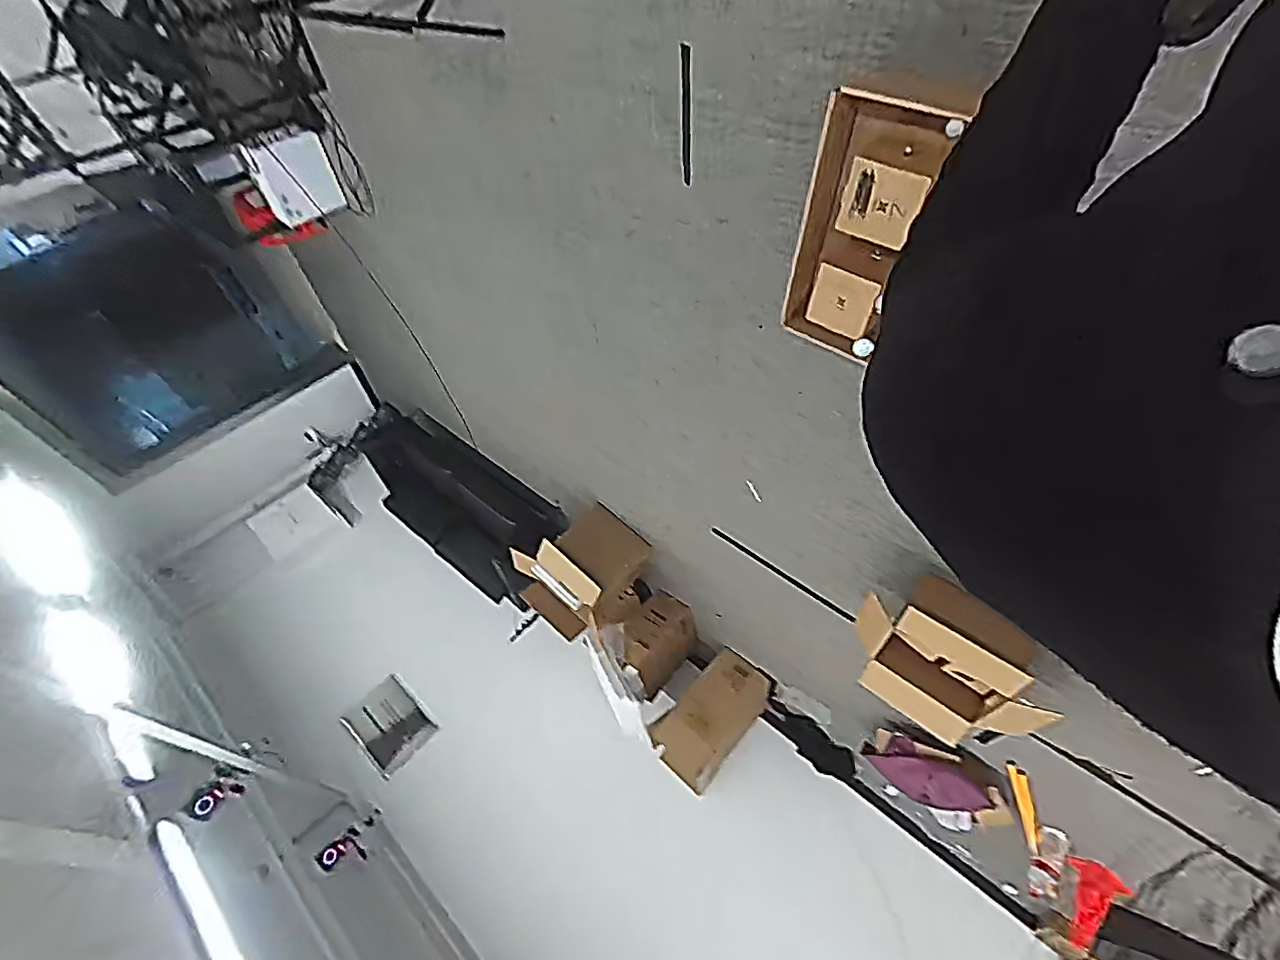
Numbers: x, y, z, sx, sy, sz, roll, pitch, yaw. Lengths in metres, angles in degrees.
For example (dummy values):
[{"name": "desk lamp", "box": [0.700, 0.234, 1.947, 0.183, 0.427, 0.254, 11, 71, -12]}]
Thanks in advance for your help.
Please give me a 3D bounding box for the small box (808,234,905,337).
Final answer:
[{"name": "small box", "box": [0.584, -0.527, 1.457, 0.168, 0.176, 0.179, 32, 148, 22]}]
